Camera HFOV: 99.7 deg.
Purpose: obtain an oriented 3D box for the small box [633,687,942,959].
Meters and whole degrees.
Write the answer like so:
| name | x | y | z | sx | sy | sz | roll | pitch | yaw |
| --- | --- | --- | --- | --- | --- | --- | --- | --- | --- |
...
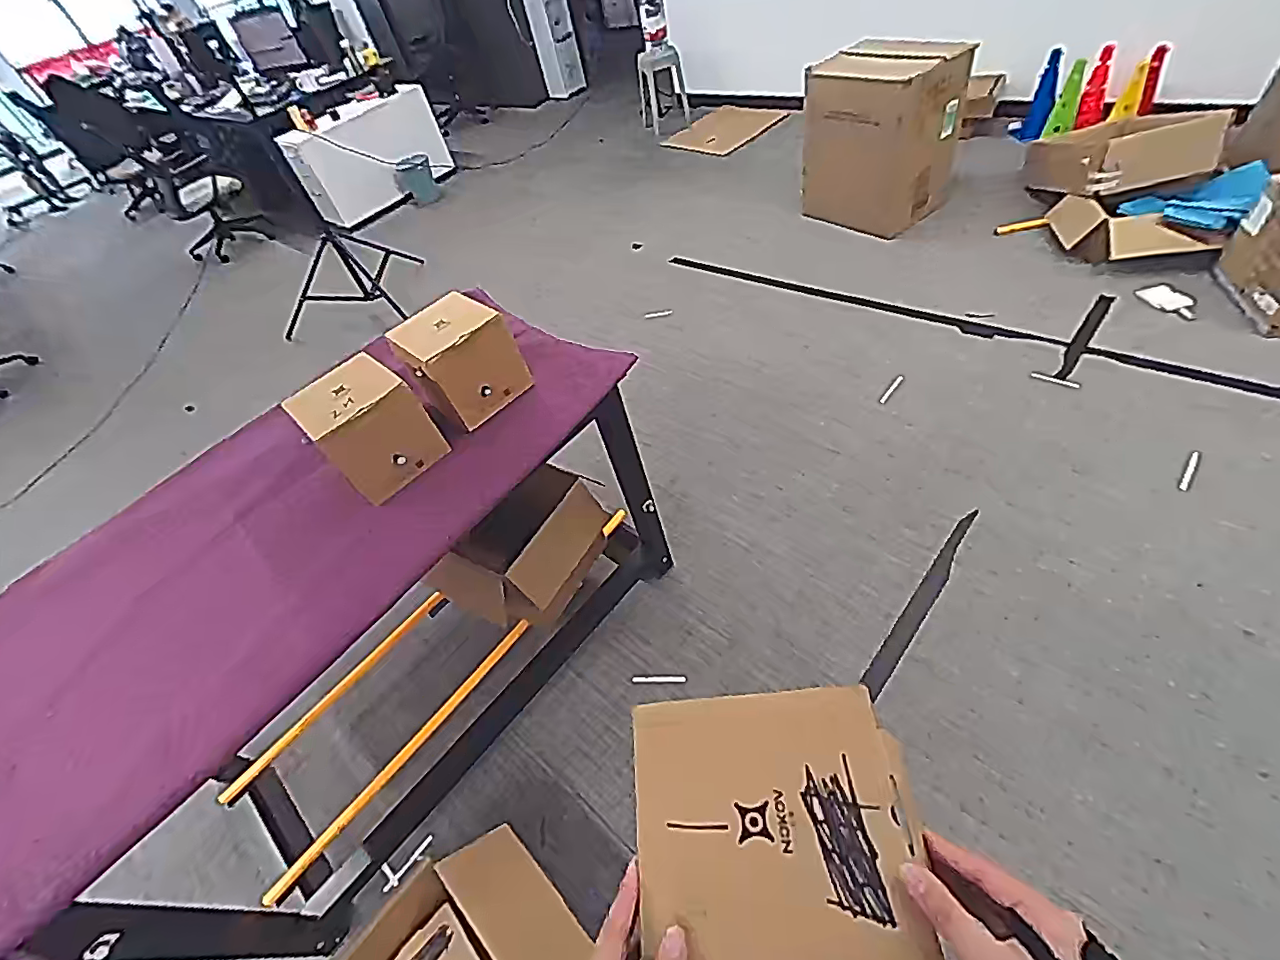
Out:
| name | x | y | z | sx | sy | sz | roll | pitch | yaw |
| --- | --- | --- | --- | --- | --- | --- | --- | --- | --- |
| small box | 0.095 | 0.271 | 0.418 | 0.179 | 0.176 | 0.168 | -8 | 52 | 7 |

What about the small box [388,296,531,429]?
| name | x | y | z | sx | sy | sz | roll | pitch | yaw |
| --- | --- | --- | --- | --- | --- | --- | --- | --- | --- |
| small box | -0.344 | -0.226 | 1.050 | 0.179 | 0.176 | 0.168 | 32 | 65 | 36 |

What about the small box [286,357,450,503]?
| name | x | y | z | sx | sy | sz | roll | pitch | yaw |
| --- | --- | --- | --- | --- | --- | --- | --- | --- | --- |
| small box | -0.480 | -0.088 | 0.969 | 0.179 | 0.176 | 0.168 | 32 | 64 | 35 |
